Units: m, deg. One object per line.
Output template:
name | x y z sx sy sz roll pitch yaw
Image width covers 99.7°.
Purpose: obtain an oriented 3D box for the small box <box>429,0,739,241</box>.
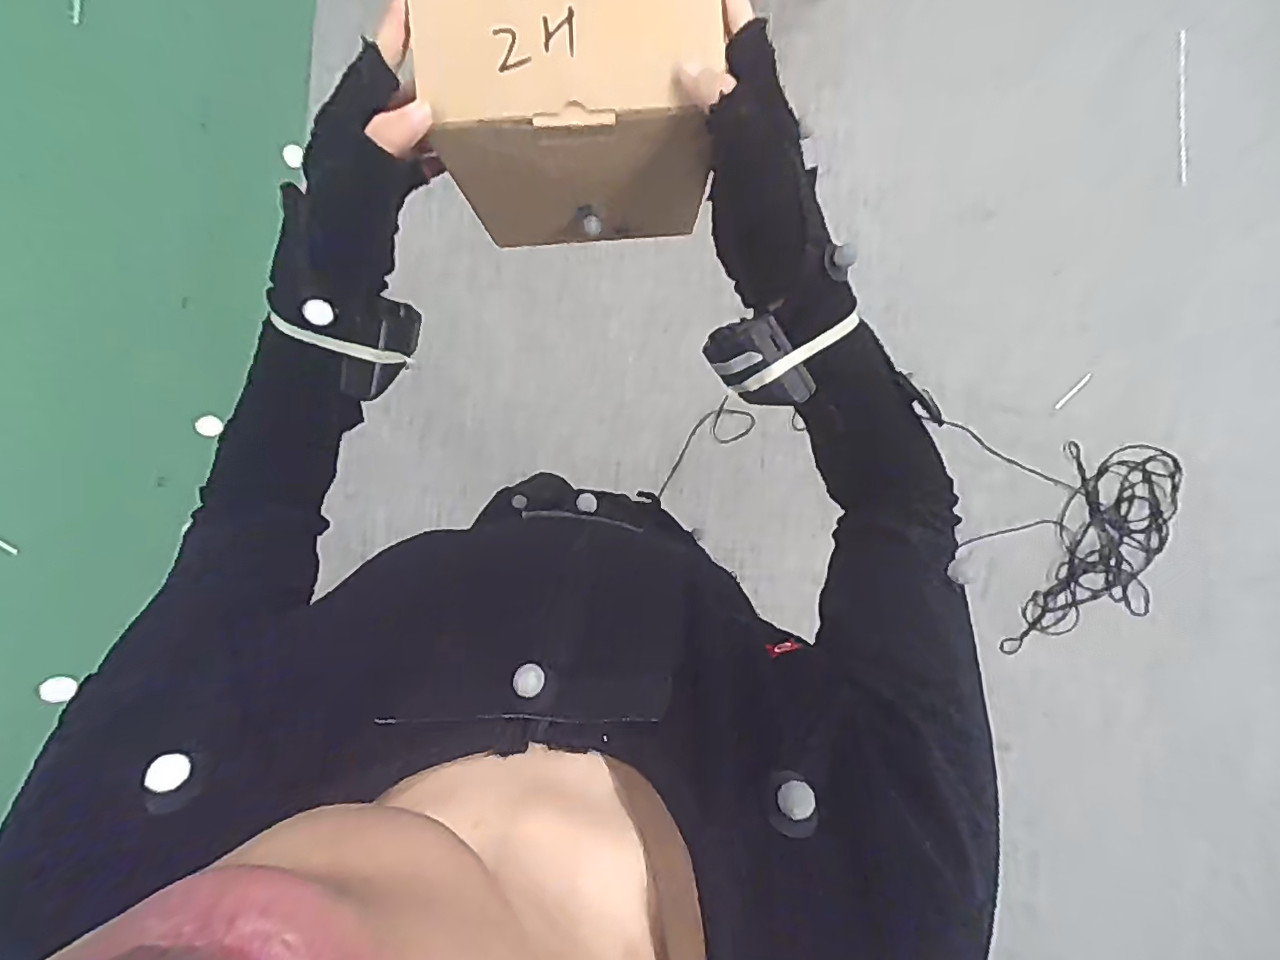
small box | -0.034 -0.287 0.368 0.168 0.176 0.179 -4 91 0
